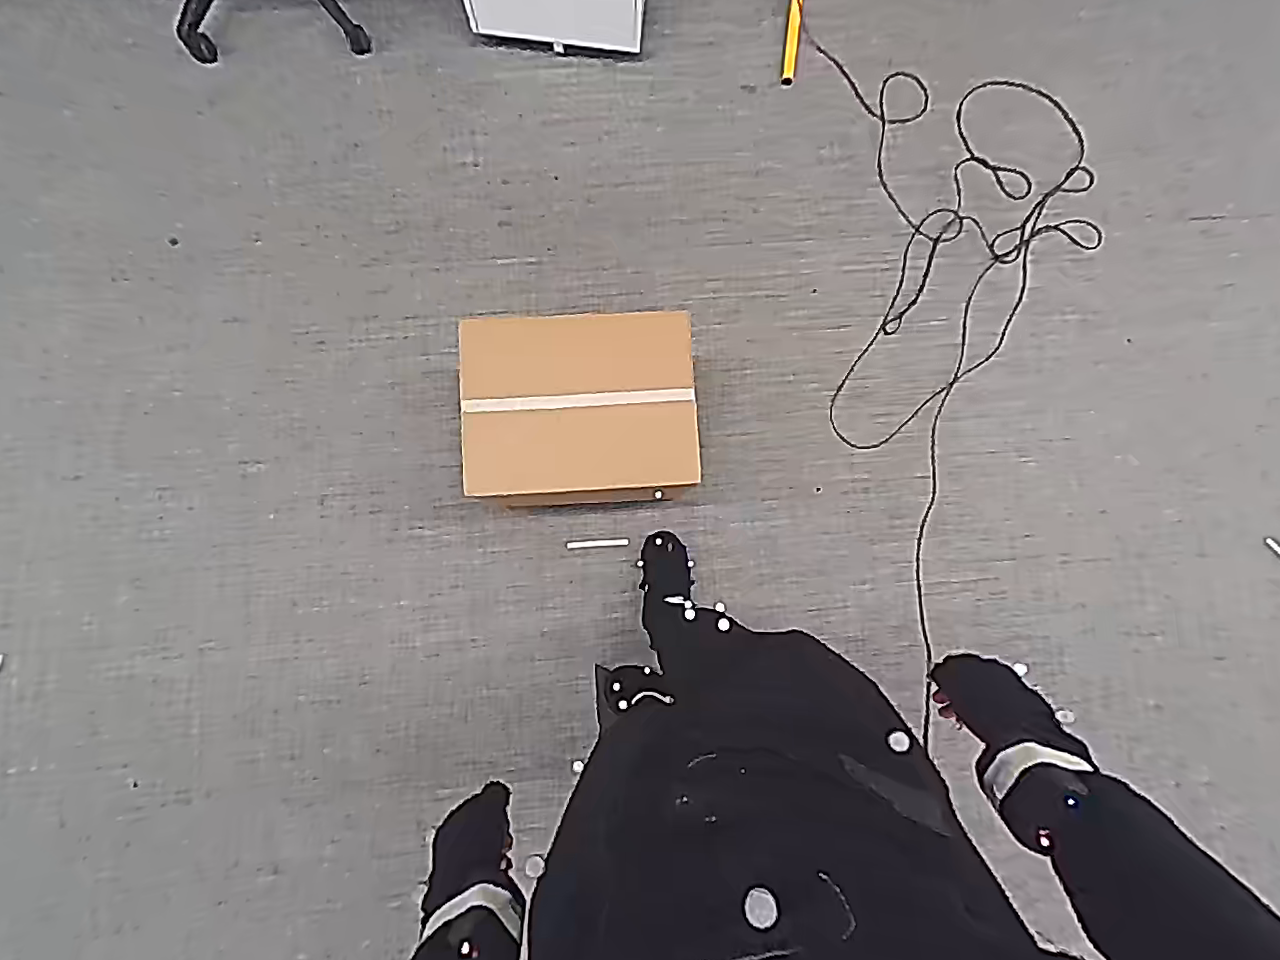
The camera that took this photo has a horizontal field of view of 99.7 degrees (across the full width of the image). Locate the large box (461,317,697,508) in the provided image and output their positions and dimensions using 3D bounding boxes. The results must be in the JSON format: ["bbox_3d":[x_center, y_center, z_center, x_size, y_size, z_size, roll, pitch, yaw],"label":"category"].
[{"bbox_3d":[-0.113,-0.113,1.090,0.408,0.320,0.320,-3,83,-3],"label":"large box"}]
